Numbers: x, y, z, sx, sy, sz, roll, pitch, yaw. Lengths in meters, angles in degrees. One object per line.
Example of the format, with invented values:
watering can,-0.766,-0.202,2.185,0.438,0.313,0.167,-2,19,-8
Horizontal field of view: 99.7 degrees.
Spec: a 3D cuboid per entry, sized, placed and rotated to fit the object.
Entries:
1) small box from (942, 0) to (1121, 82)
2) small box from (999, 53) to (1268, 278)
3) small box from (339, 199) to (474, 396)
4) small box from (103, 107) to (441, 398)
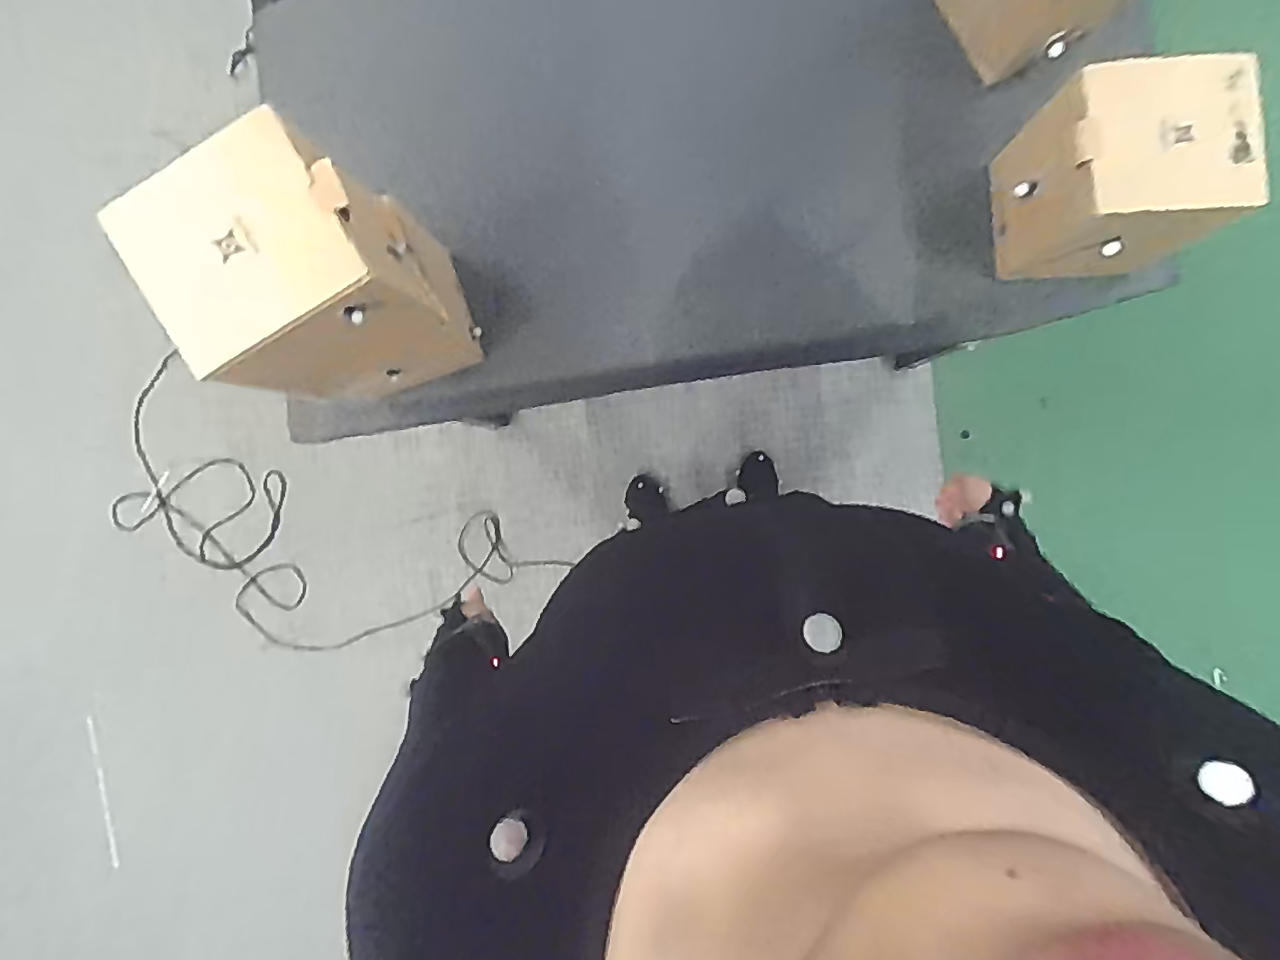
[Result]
small box,0.489,-0.634,0.637,0.168,0.176,0.179,-30,92,6
small box,0.555,-0.352,0.638,0.179,0.176,0.168,-2,88,4
small box,-0.330,-0.215,0.689,0.179,0.176,0.168,-19,91,4
small box,-0.332,-0.196,0.527,0.179,0.176,0.168,-31,91,3
